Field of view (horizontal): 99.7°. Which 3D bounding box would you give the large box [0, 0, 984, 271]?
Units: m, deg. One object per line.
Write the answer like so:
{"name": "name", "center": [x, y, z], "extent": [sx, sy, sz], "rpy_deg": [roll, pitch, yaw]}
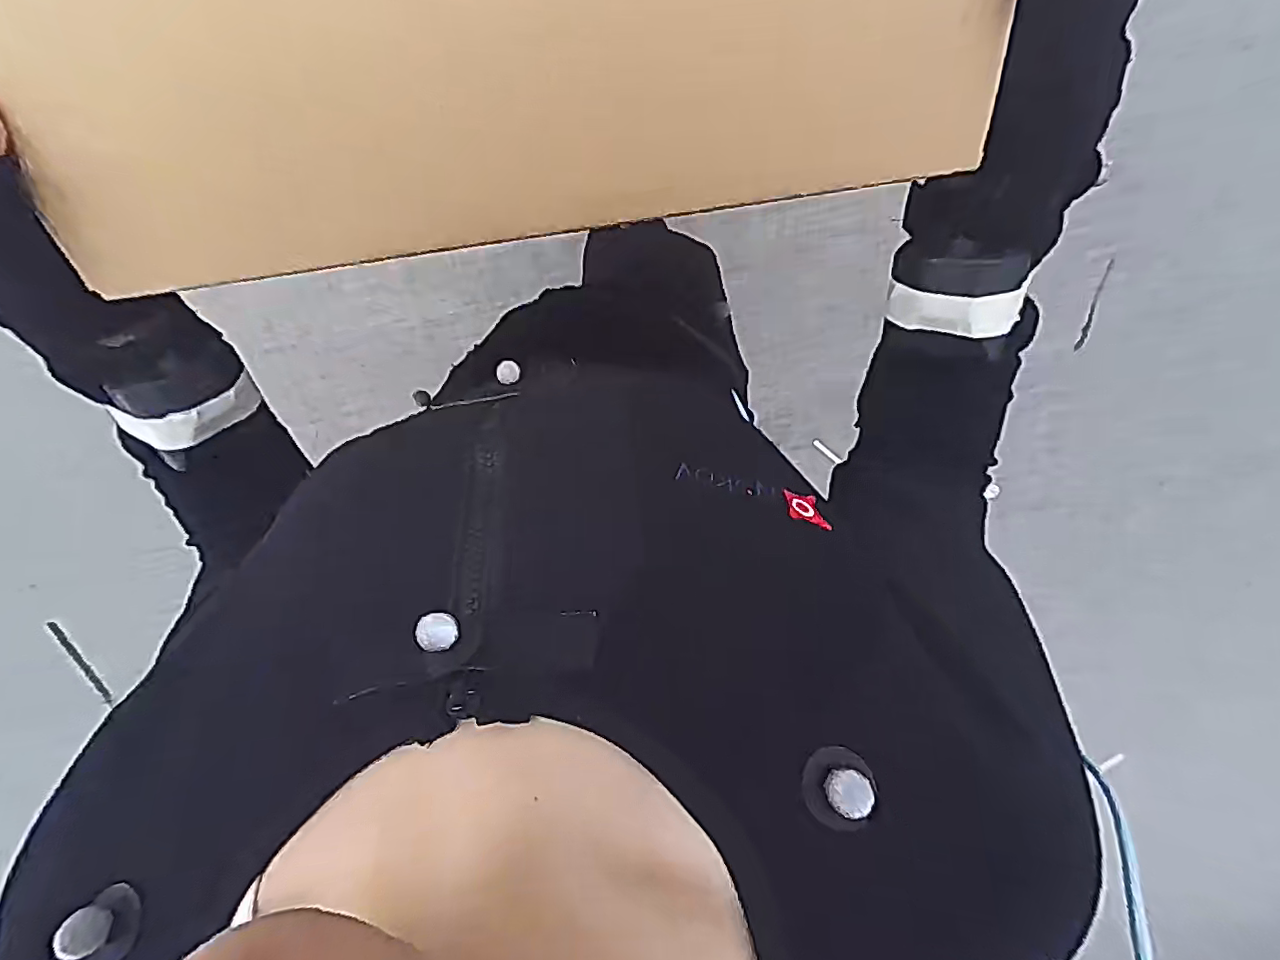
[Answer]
{"name": "large box", "center": [-0.081, -0.336, 0.284], "extent": [0.408, 0.320, 0.320], "rpy_deg": [-8, 127, 3]}
